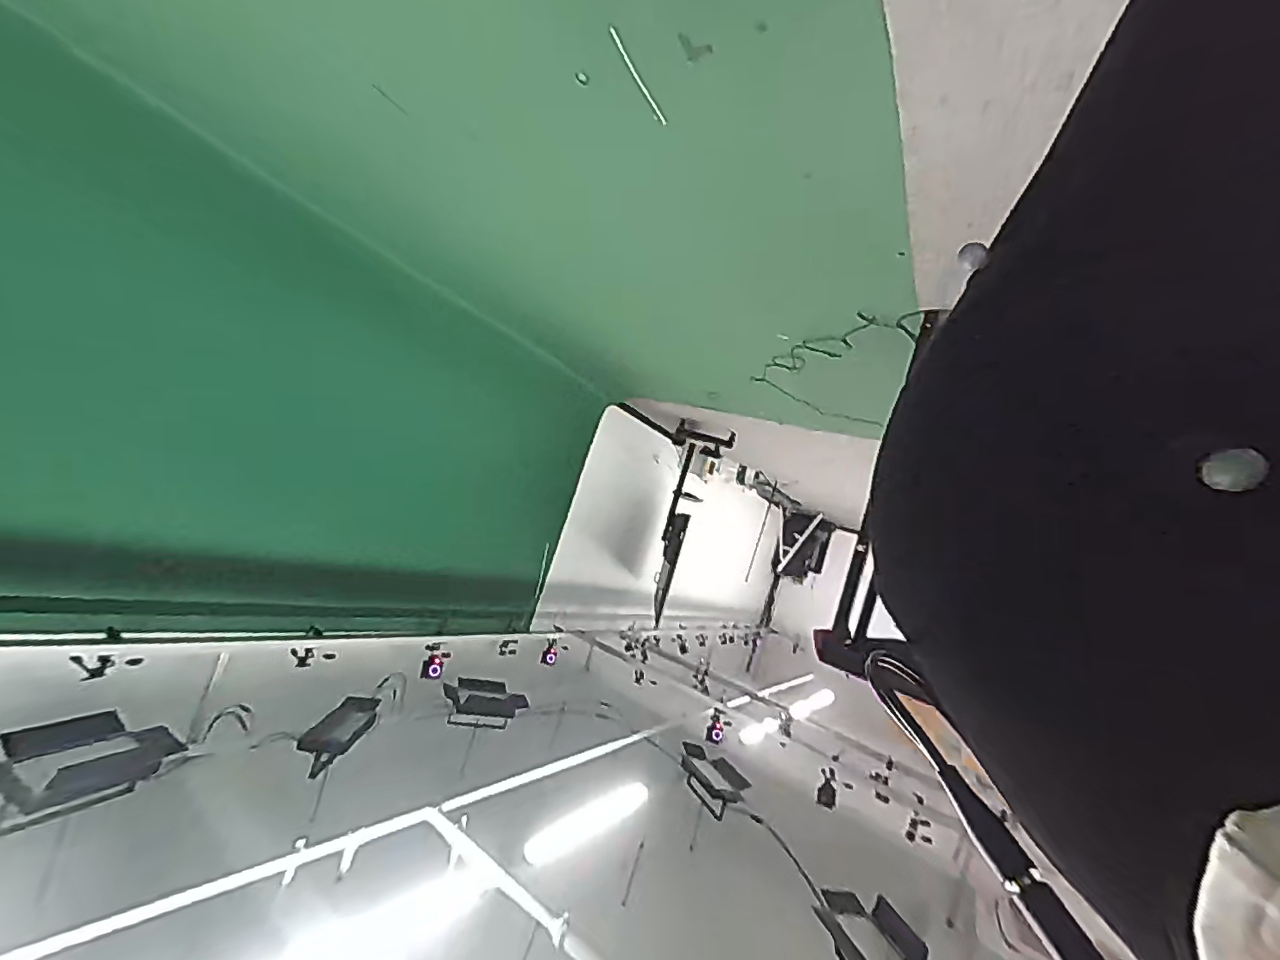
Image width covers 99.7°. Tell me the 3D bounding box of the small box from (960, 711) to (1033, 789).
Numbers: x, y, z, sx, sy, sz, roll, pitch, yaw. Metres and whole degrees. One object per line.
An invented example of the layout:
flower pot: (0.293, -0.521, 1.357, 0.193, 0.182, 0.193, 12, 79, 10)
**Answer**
small box: (1.216, 0.913, 1.850, 0.179, 0.176, 0.168, 15, 176, 34)
